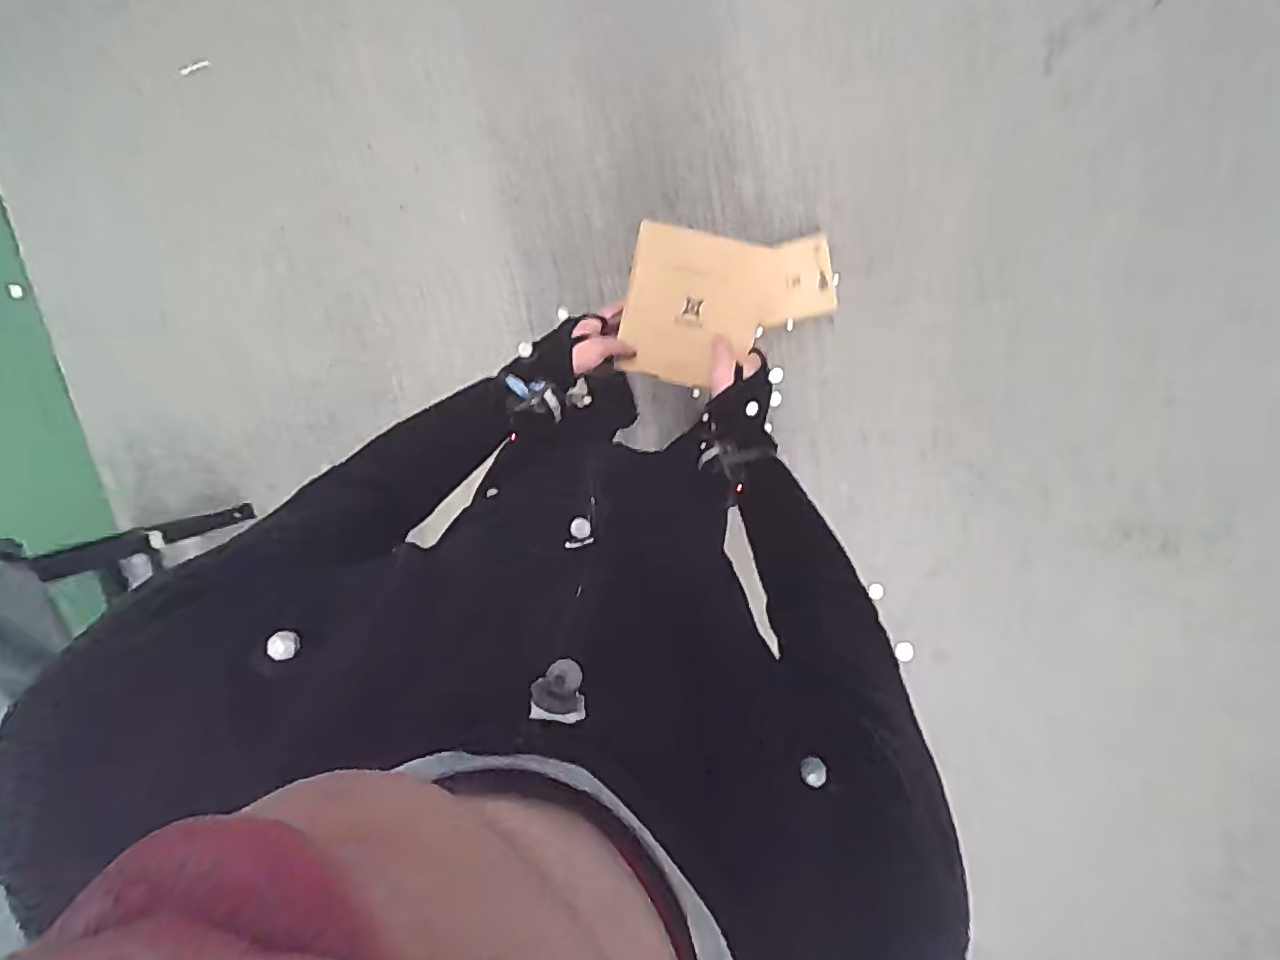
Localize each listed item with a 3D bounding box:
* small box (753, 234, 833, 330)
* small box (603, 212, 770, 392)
[{"bbox_3d":[0.347,-0.458,1.280,0.179,0.176,0.168,-10,100,14],"label":"small box"},{"bbox_3d":[0.053,-0.222,0.709,0.168,0.176,0.179,12,102,-3],"label":"small box"}]
